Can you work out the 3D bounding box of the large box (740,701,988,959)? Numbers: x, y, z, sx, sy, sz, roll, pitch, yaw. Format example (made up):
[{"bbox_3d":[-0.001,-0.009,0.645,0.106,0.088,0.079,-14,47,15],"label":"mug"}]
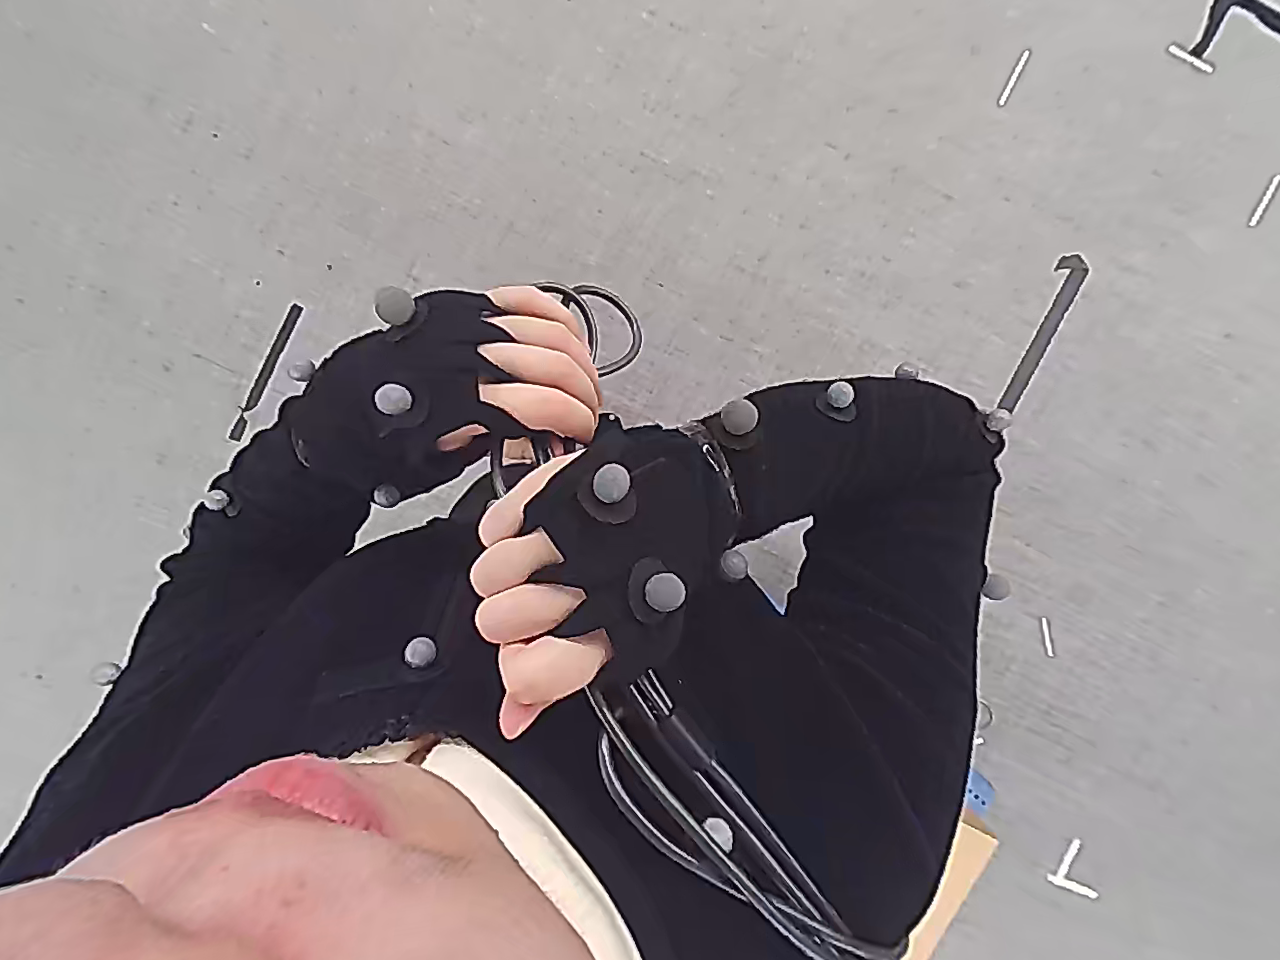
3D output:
[{"bbox_3d":[0.486,0.813,1.254,0.320,0.320,0.408,29,94,-4],"label":"large box"}]
